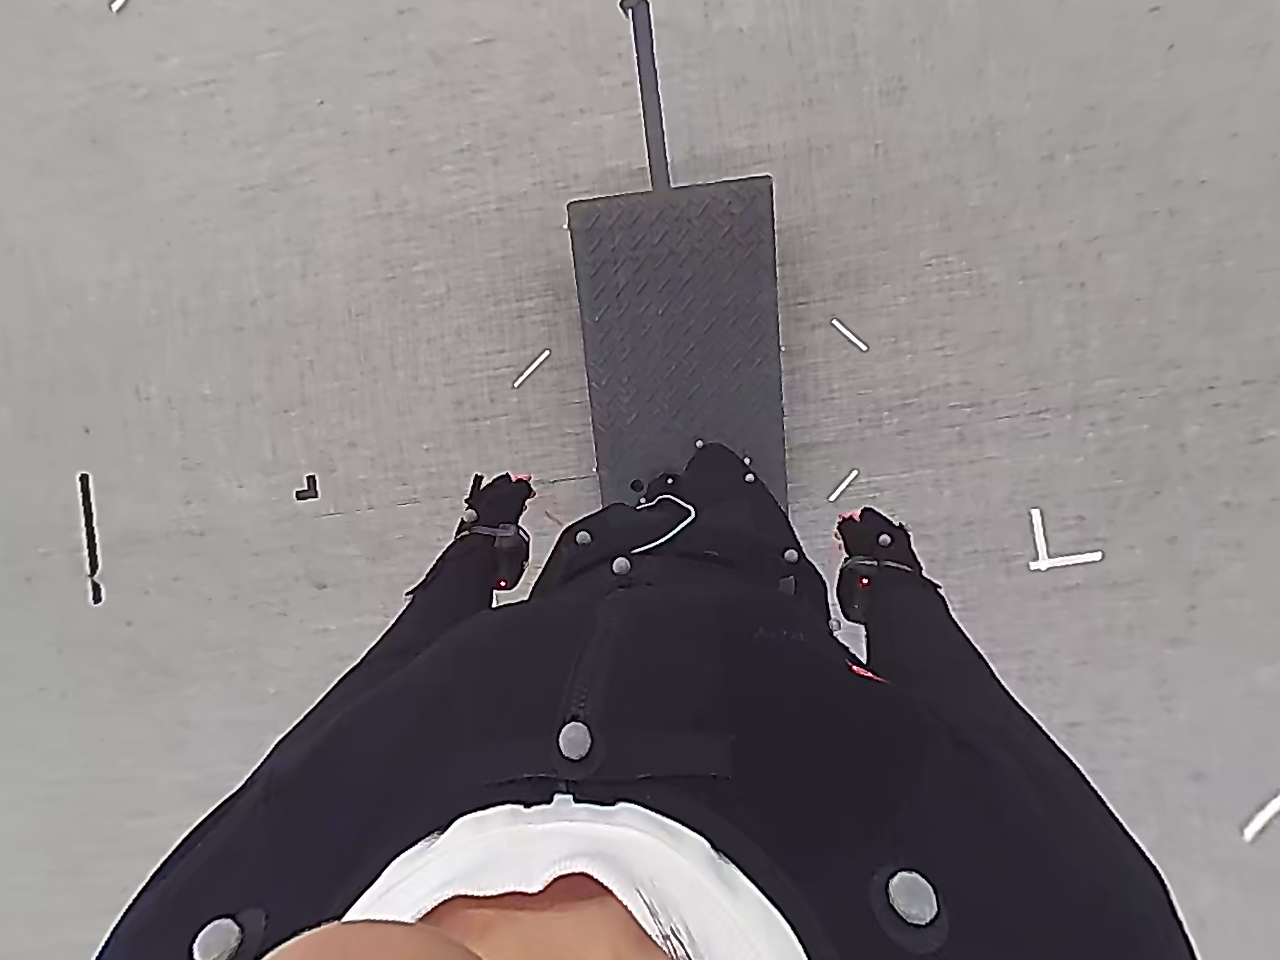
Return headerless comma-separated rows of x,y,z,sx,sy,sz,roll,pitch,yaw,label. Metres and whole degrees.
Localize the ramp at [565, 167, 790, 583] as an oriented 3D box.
0.114,-0.220,1.376,0.509,0.206,0.991,-7,92,5,ramp
